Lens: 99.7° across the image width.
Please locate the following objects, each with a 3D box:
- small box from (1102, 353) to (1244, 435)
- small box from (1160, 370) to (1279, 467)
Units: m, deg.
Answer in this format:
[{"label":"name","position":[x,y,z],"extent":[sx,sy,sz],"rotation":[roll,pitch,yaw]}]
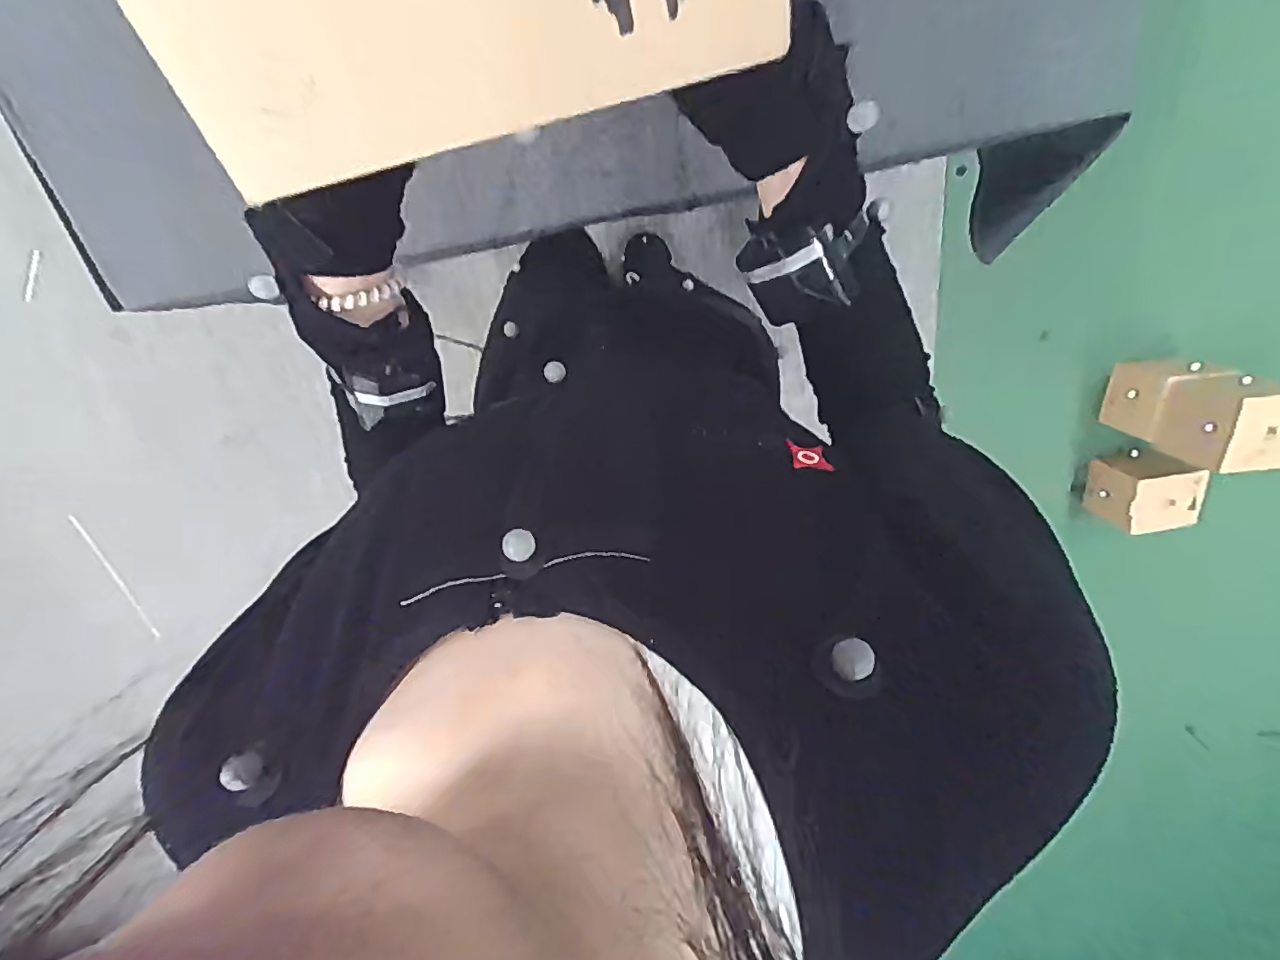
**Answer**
[{"label":"small box","position":[1.338,-0.222,1.375],"extent":[0.179,0.176,0.168],"rotation":[-5,114,2]},{"label":"small box","position":[1.350,-0.147,1.228],"extent":[0.168,0.176,0.179],"rotation":[-5,114,2]}]
